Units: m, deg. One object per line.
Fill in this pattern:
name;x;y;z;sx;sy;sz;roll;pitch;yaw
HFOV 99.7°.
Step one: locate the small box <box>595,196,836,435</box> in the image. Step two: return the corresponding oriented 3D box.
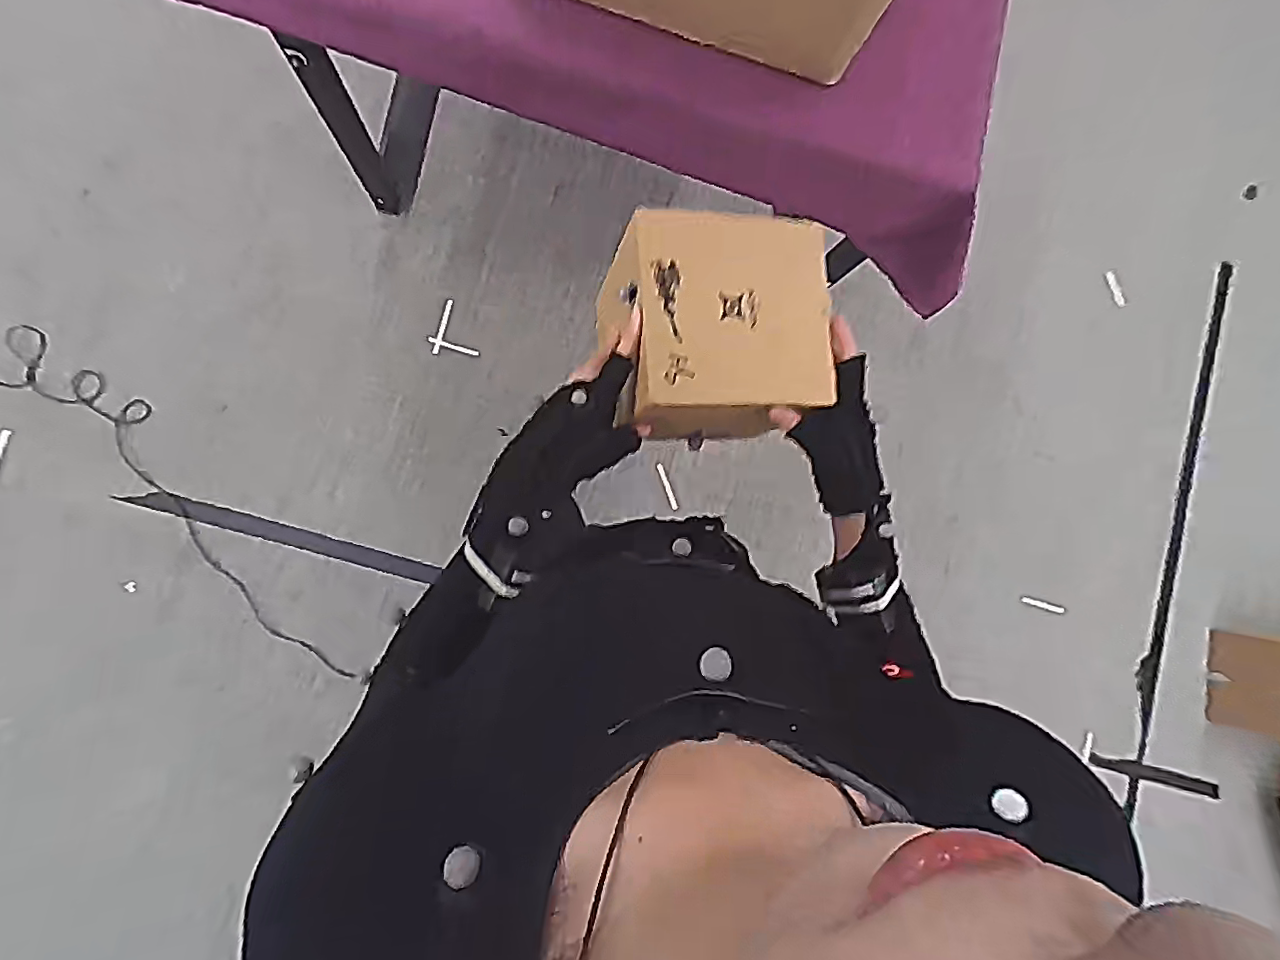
small box;0.061;-0.141;0.526;0.179;0.176;0.168;-2;84;-16
